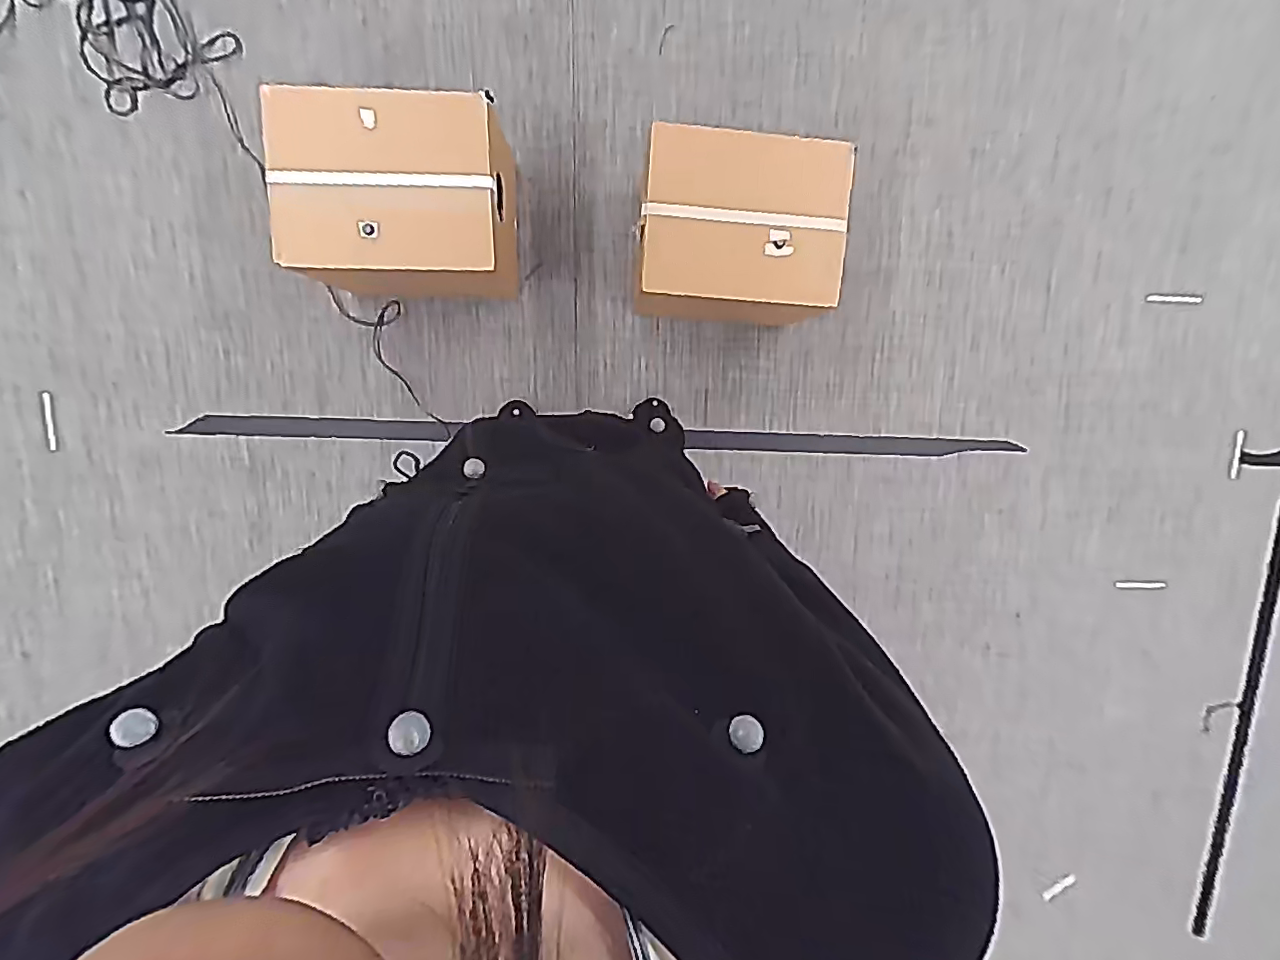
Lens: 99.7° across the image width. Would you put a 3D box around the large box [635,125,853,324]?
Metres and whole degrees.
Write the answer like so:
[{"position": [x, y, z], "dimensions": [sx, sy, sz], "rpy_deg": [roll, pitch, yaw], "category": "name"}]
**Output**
[{"position": [0.202, -0.540, 1.216], "dimensions": [0.408, 0.320, 0.320], "rpy_deg": [3, 99, -5], "category": "large box"}]
